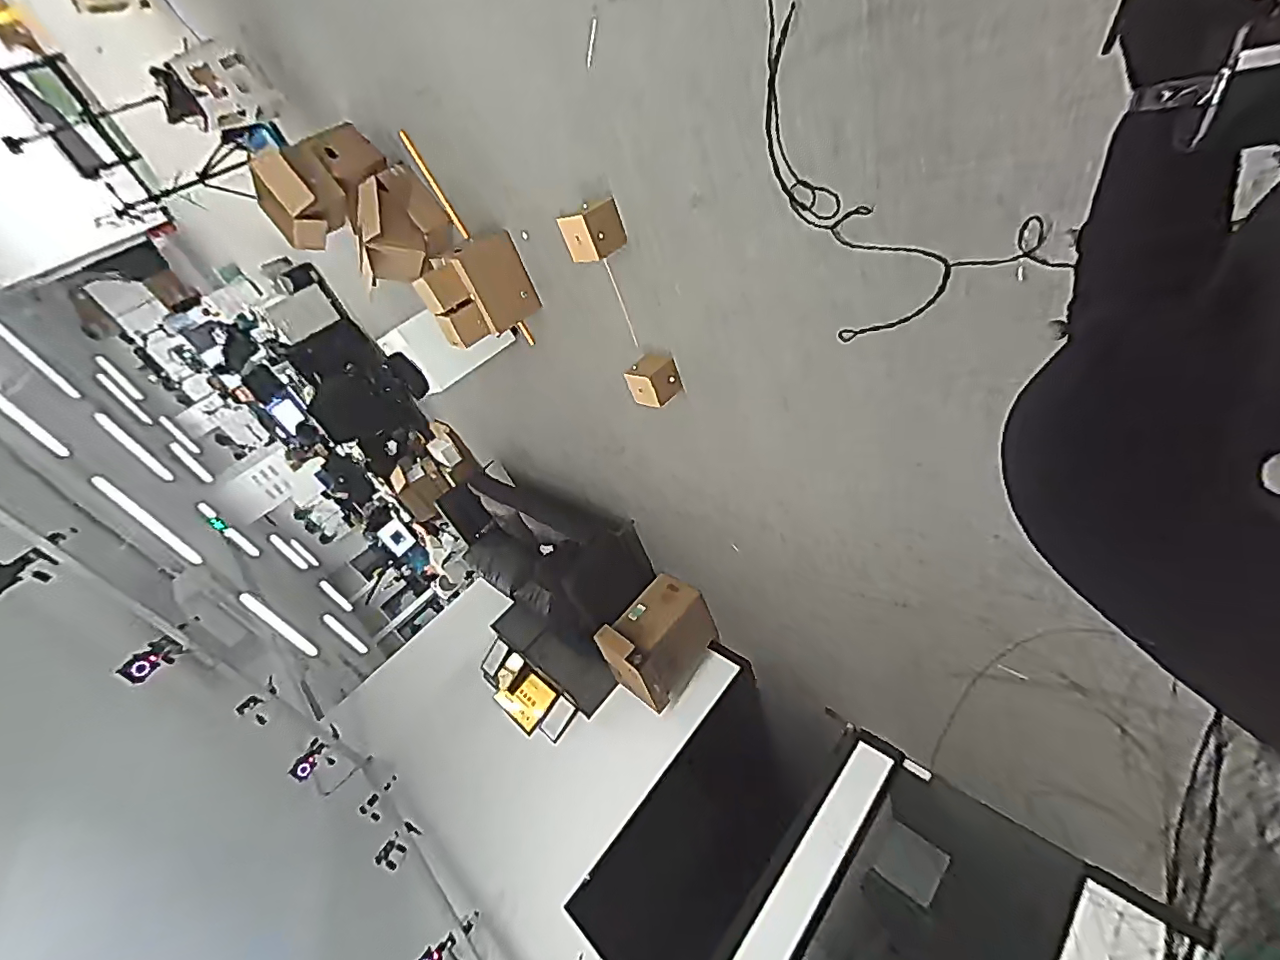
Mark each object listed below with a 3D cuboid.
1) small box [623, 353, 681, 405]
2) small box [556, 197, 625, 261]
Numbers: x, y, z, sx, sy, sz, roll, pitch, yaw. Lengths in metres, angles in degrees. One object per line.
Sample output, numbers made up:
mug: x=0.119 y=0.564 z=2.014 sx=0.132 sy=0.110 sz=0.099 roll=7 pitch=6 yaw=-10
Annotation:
small box: x=0.058 y=-0.468 z=2.483 sx=0.179 sy=0.176 sz=0.168 roll=19 pitch=145 yaw=44
small box: x=-0.187 y=-0.975 z=2.093 sx=0.168 sy=0.176 sz=0.179 roll=19 pitch=145 yaw=44
